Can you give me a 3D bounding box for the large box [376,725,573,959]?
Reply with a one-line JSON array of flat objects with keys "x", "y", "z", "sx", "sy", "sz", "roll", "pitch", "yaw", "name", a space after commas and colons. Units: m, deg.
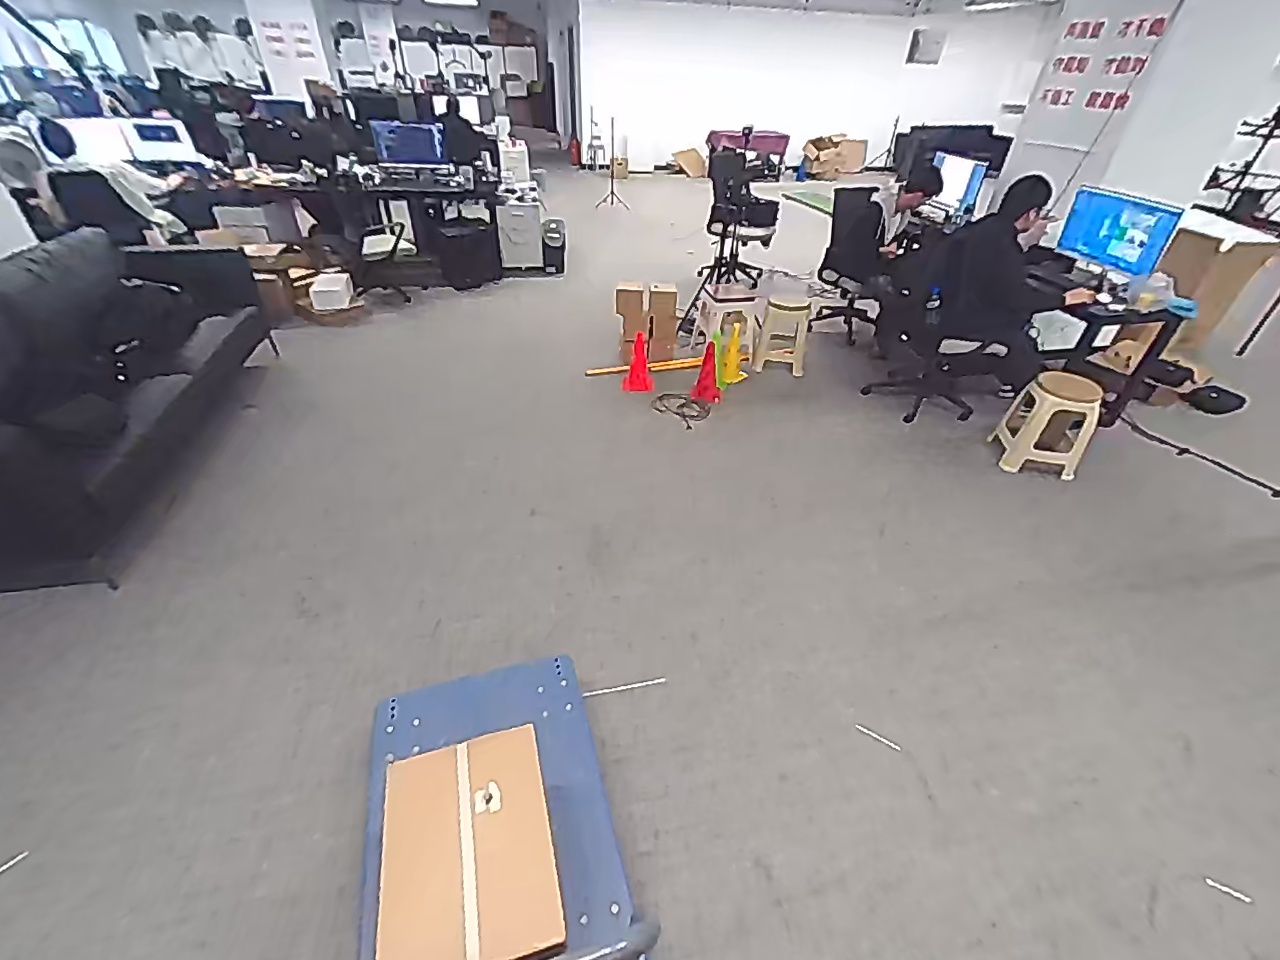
[{"x": -0.337, "y": 0.814, "z": 1.127, "sx": 0.320, "sy": 0.320, "sz": 0.408, "roll": -9, "pitch": 38, "yaw": -15, "name": "large box"}]
